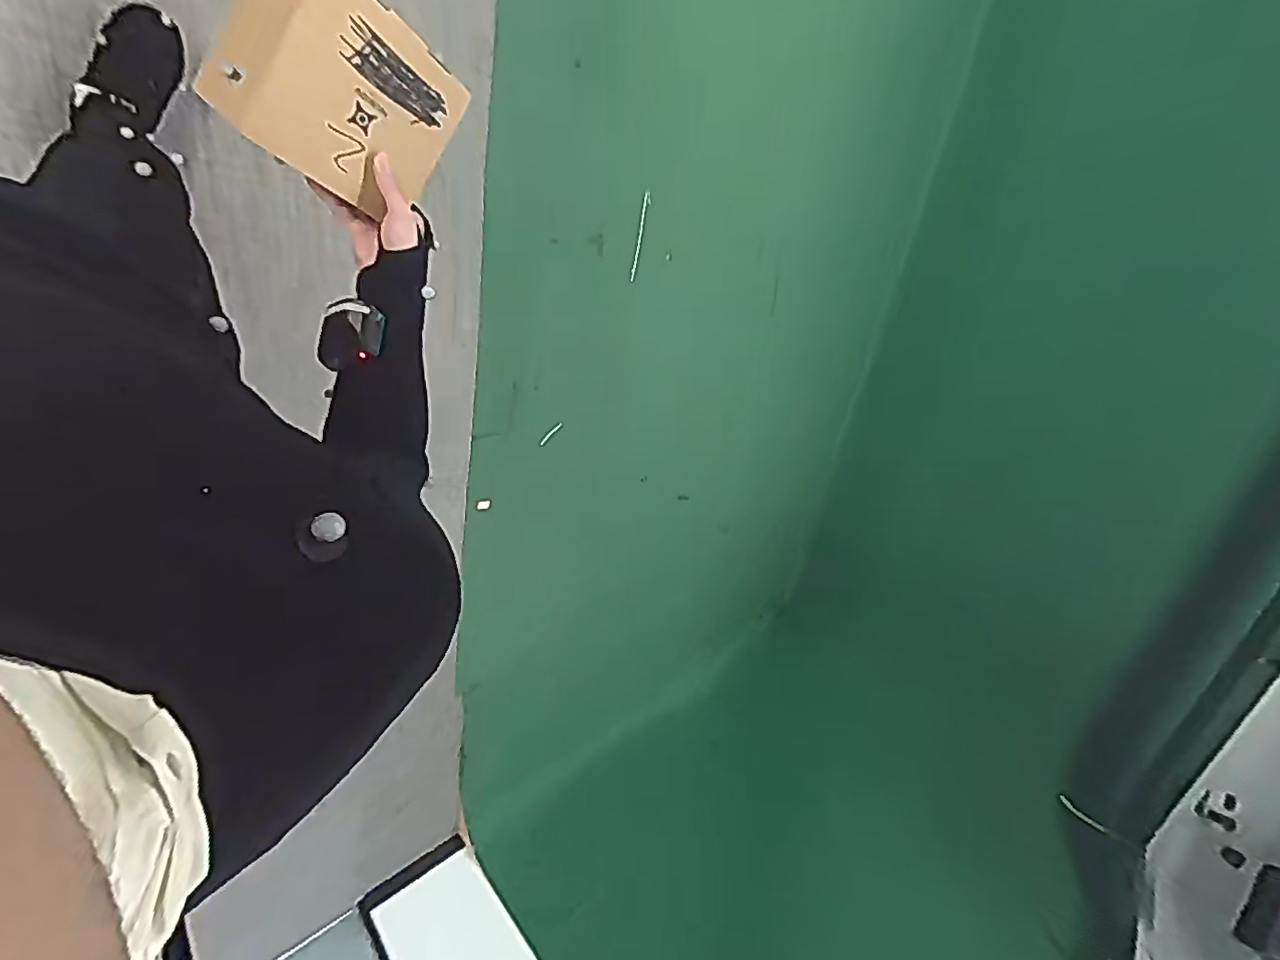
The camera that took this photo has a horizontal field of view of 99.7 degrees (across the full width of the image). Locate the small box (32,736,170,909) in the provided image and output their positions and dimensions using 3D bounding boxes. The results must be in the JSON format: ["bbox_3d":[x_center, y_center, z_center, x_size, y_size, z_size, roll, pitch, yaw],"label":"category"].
[{"bbox_3d":[-0.967,0.594,0.971,0.168,0.176,0.179,-1,114,-46],"label":"small box"}]
